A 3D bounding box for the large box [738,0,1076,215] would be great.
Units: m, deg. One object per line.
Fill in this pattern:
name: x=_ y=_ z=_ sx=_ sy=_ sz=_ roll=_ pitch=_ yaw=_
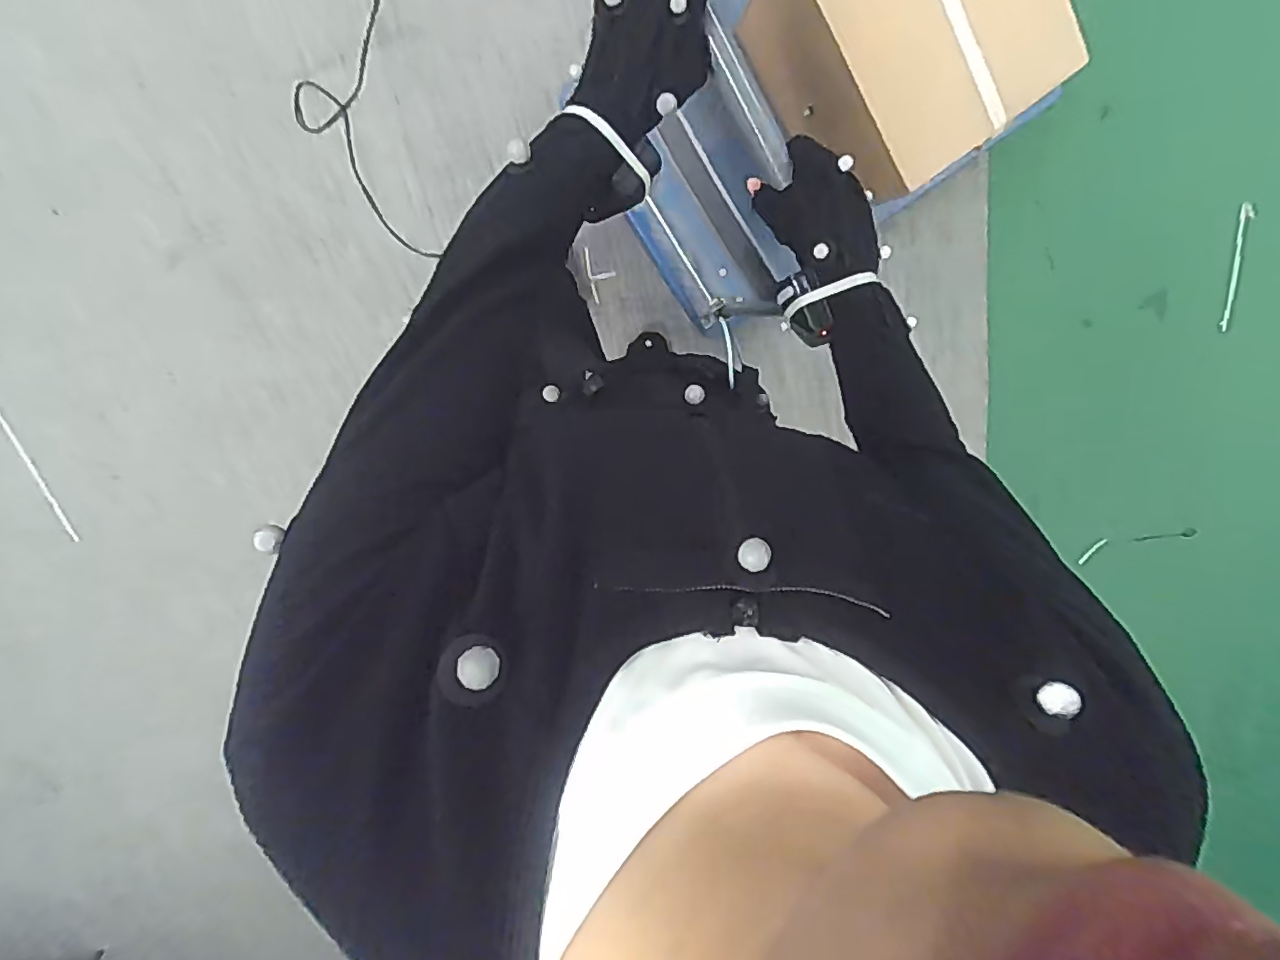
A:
large box: x=0.427 y=-0.749 z=0.938 sx=0.320 sy=0.320 sz=0.408 roll=-35 pitch=106 yaw=8
